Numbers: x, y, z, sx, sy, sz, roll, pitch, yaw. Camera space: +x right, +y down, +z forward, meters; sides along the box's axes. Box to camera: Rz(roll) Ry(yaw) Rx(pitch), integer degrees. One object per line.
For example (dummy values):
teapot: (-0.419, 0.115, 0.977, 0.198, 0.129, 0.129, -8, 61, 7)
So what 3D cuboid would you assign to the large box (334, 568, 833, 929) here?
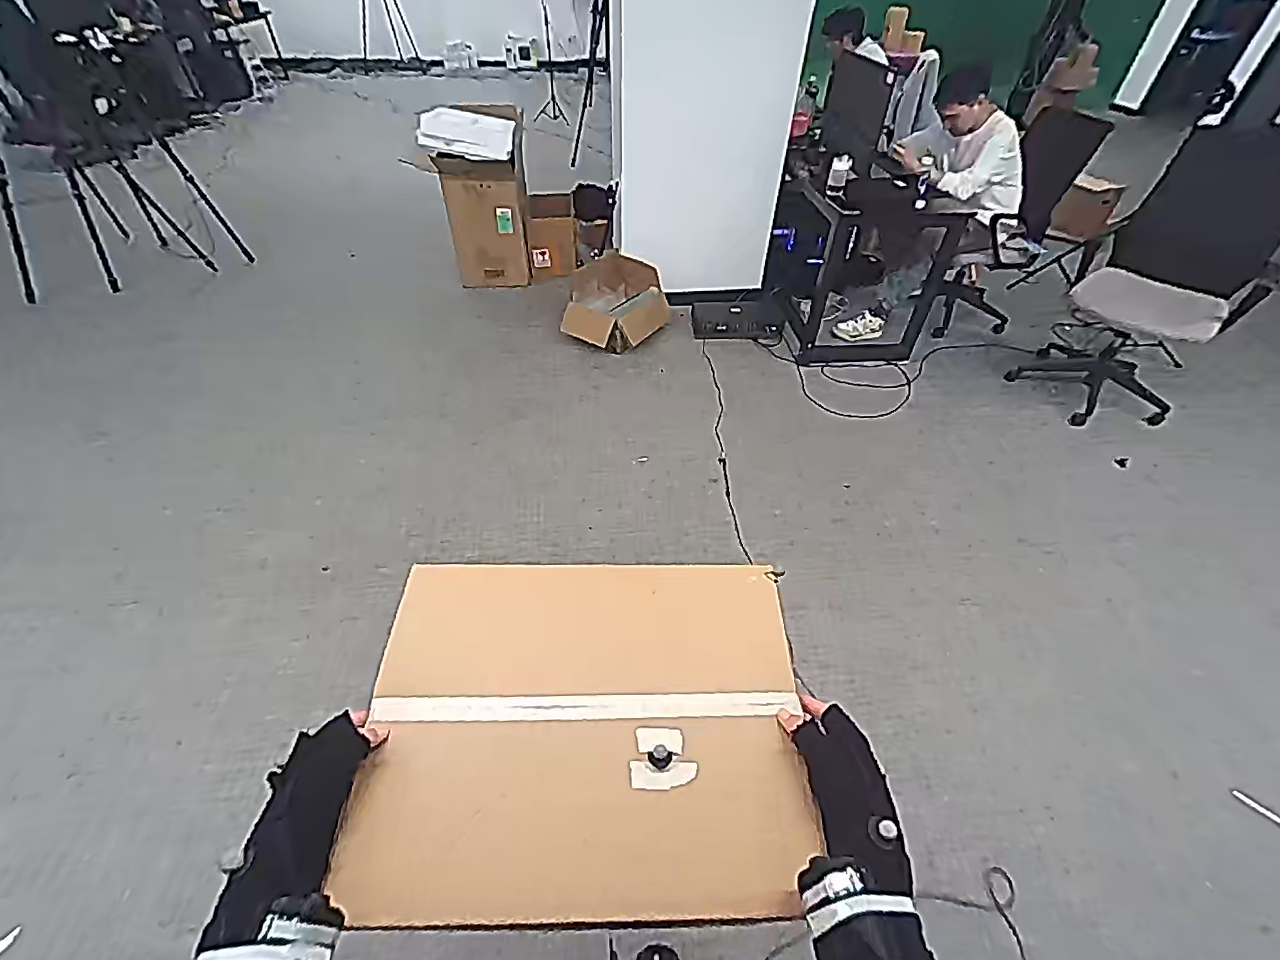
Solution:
large box: (-0.051, 0.315, 0.633, 0.408, 0.320, 0.320, 1, 50, -2)
